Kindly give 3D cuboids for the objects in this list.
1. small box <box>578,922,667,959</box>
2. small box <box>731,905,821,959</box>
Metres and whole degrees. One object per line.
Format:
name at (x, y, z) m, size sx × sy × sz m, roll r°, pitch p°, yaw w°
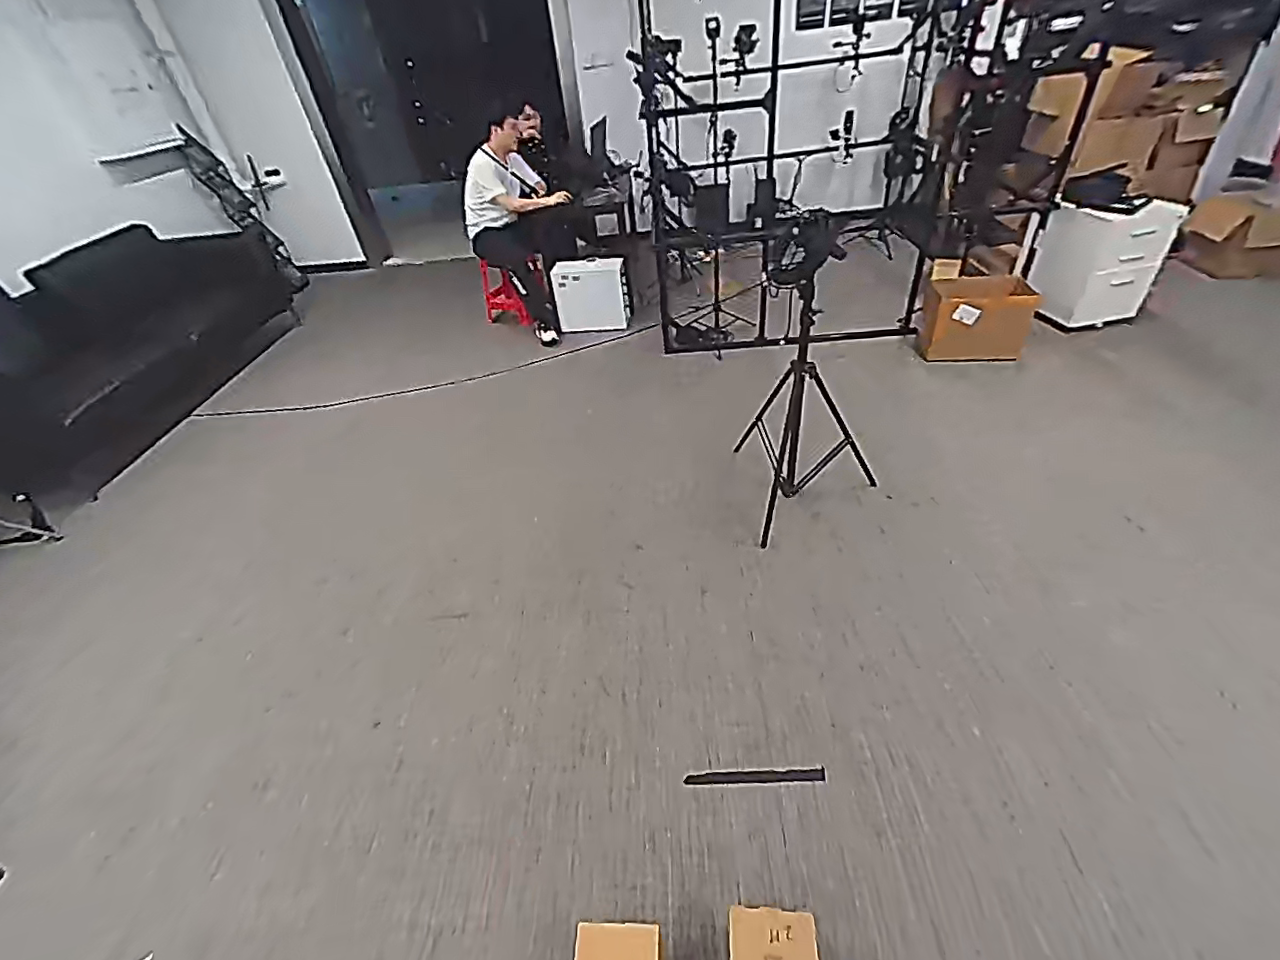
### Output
small box at (-0.034, 1.000, 1.060) m, size 0.168 × 0.176 × 0.179 m, roll -3°, pitch 40°, yaw 6°
small box at (0.263, 0.963, 1.052) m, size 0.168 × 0.176 × 0.179 m, roll -1°, pitch 39°, yaw 7°
